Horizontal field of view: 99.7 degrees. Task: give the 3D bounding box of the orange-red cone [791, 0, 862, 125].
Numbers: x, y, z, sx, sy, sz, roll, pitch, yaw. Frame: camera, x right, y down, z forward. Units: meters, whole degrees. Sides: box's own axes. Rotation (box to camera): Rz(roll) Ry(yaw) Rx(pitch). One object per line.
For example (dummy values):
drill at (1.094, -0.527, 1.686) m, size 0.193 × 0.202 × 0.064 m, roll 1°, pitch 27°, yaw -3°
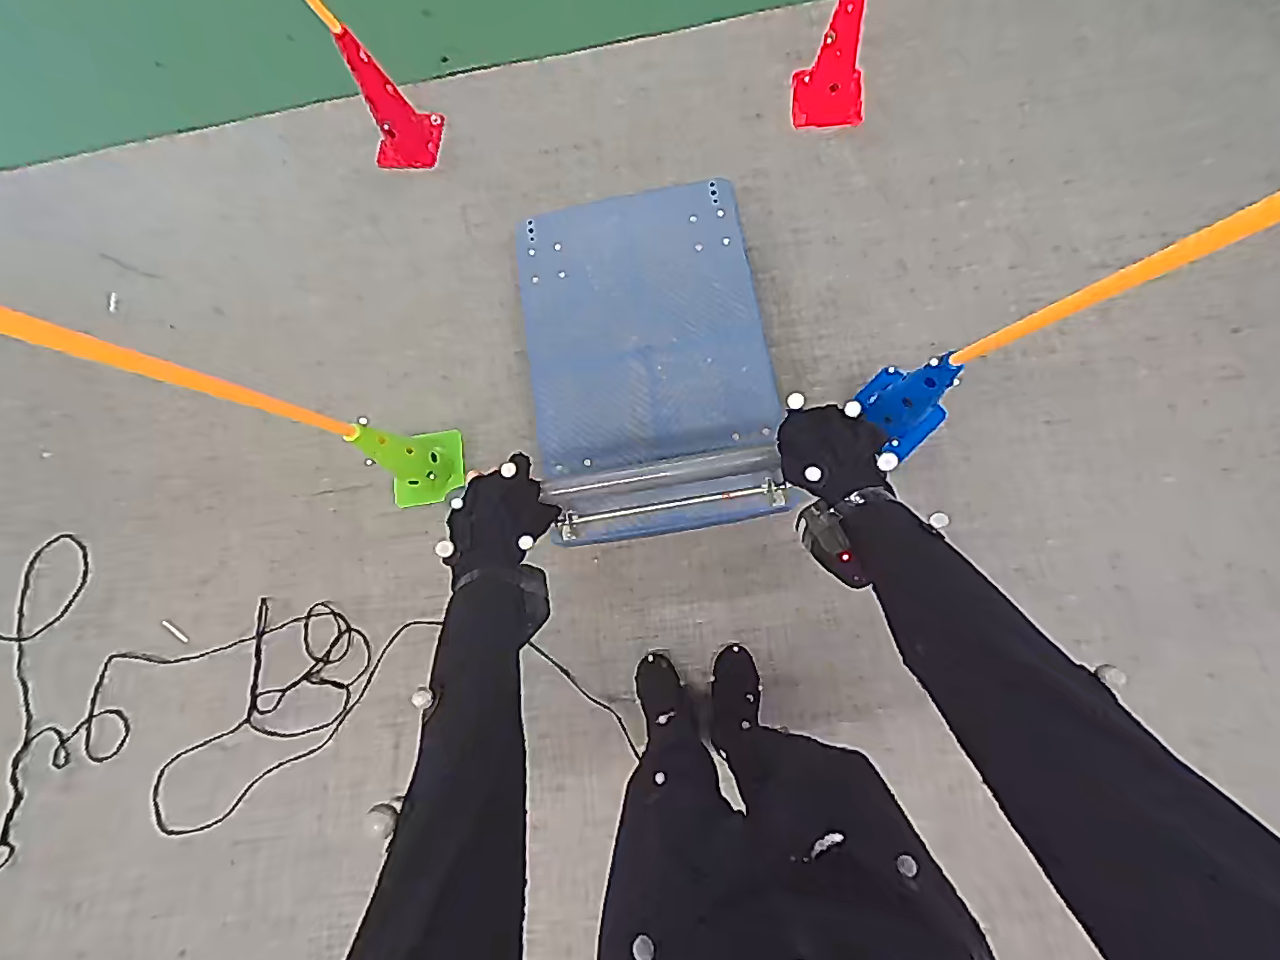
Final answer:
orange-red cone at (0.525, -1.155, 1.414) m, size 0.198 × 0.360 × 0.199 m, roll 3°, pitch 80°, yaw 8°
